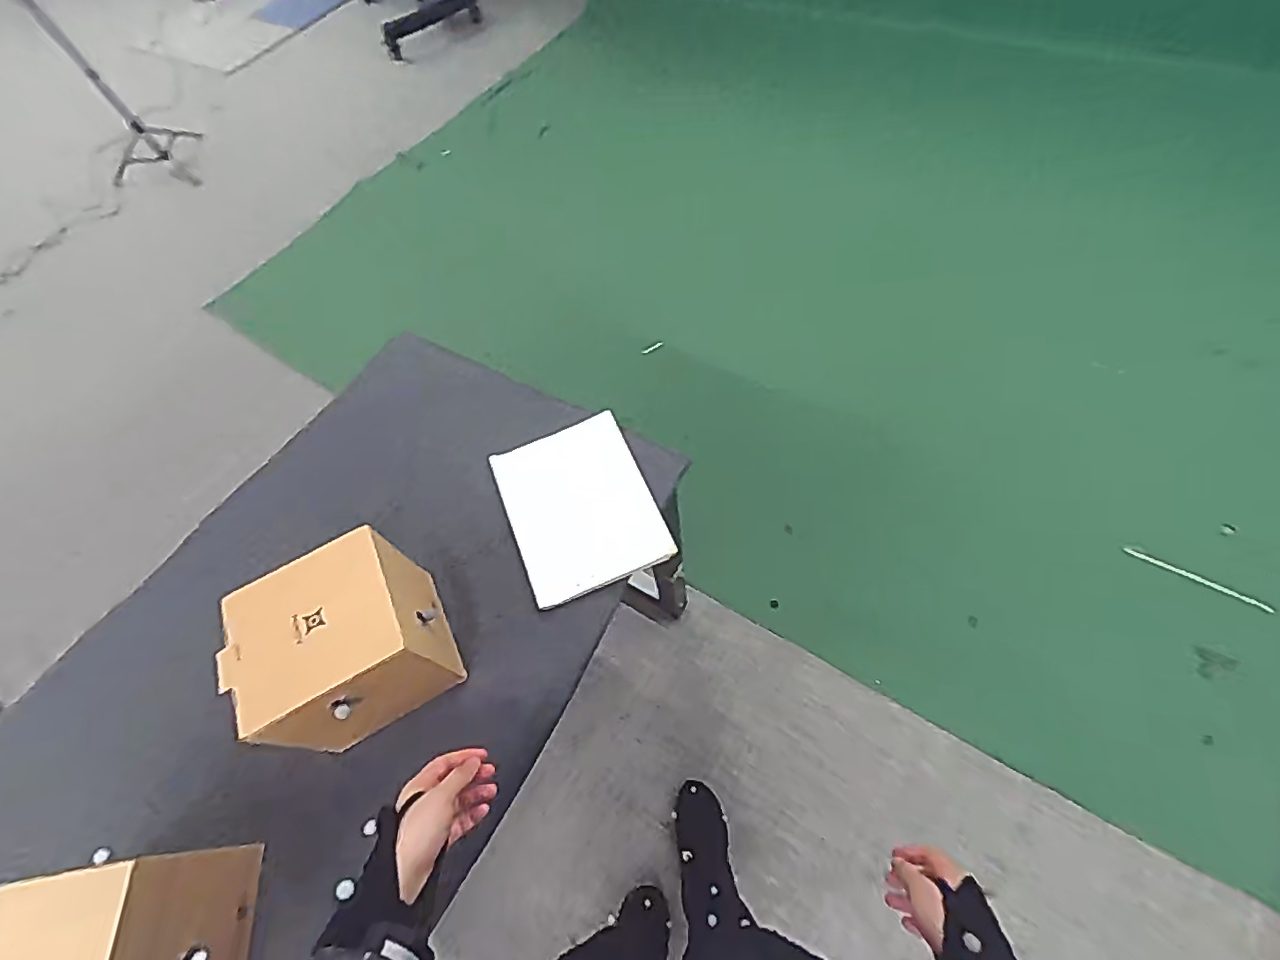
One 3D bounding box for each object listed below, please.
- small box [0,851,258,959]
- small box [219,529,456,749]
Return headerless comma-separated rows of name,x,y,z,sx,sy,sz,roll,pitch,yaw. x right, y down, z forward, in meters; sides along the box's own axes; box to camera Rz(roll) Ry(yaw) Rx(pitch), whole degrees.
small box,-0.504,0.463,0.503,0.179,0.176,0.168,-11,60,0
small box,-0.338,0.192,0.637,0.179,0.176,0.168,-29,62,-9
